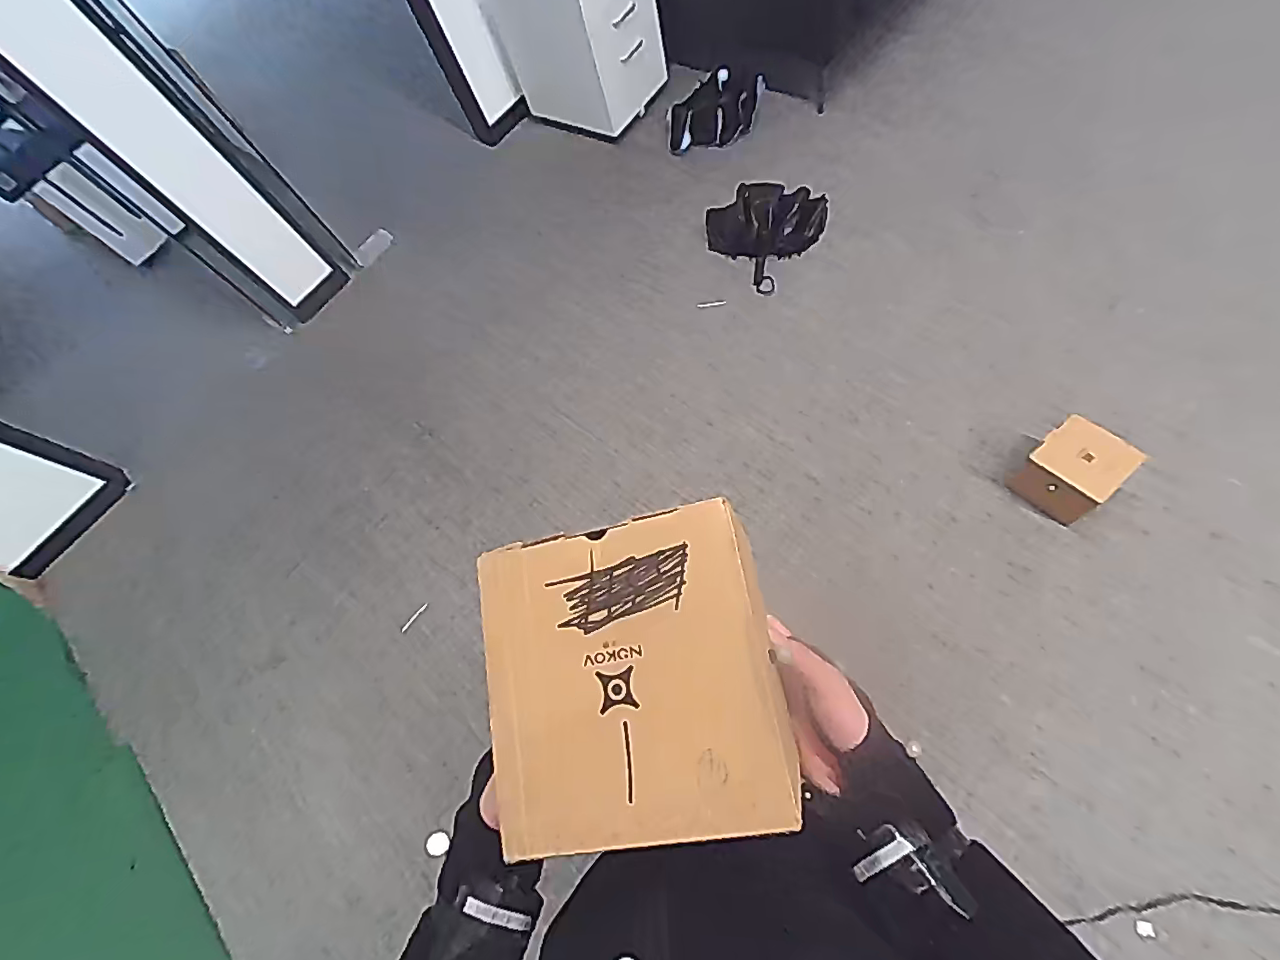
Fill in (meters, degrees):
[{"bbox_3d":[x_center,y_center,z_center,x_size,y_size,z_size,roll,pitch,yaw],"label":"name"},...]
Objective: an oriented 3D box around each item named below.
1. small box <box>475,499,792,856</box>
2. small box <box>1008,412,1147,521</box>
[{"bbox_3d":[0.005,0.129,0.382,0.168,0.176,0.179,-14,73,13],"label":"small box"},{"bbox_3d":[1.053,-0.026,1.322,0.168,0.176,0.179,-43,64,-5],"label":"small box"}]
